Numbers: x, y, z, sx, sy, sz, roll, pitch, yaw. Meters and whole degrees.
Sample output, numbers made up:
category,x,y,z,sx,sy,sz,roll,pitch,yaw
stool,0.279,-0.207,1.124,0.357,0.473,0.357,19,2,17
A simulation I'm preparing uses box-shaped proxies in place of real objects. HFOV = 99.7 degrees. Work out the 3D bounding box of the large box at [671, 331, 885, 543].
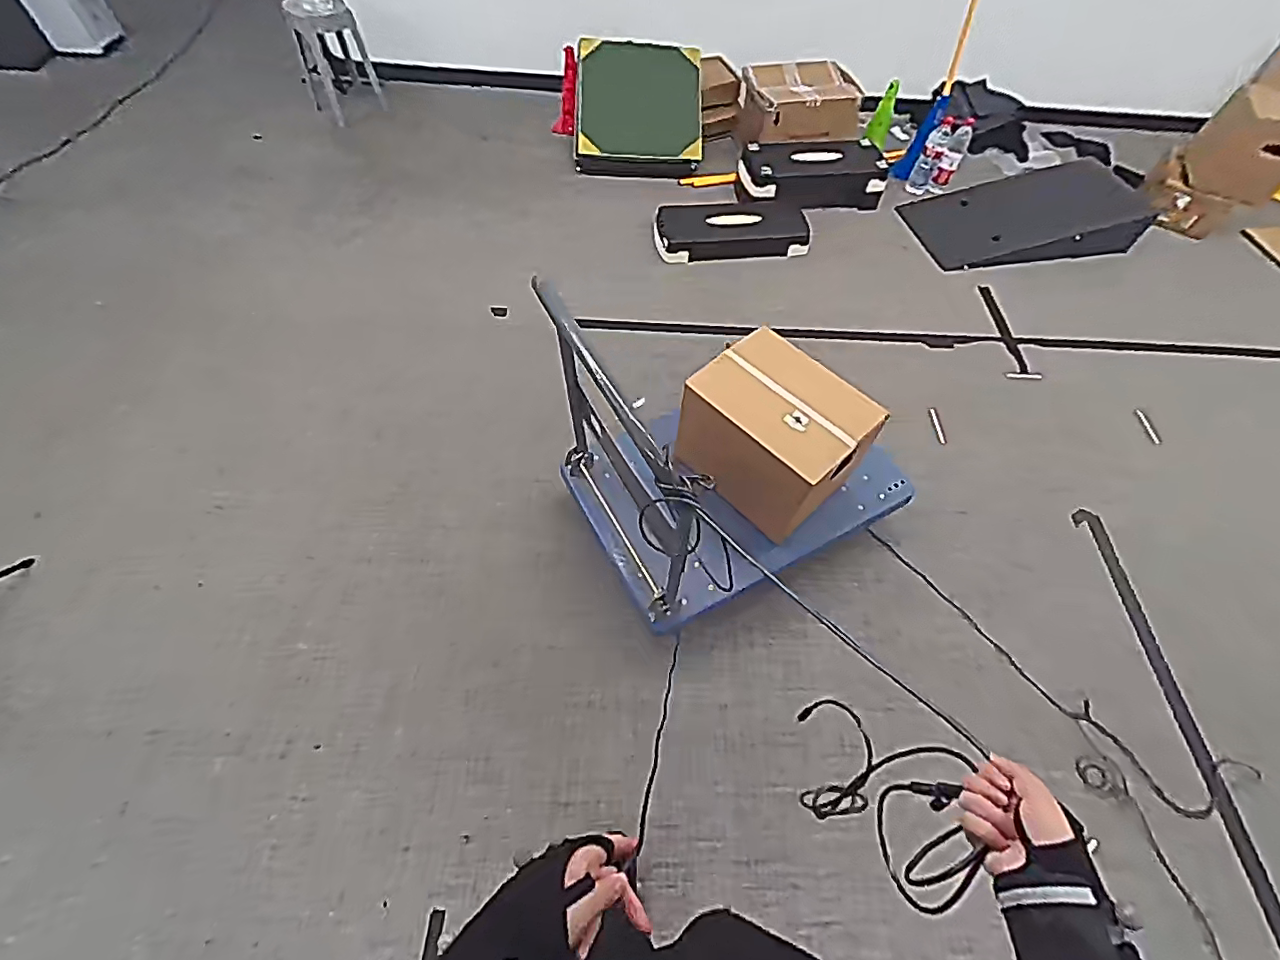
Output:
category,x,y,z,sx,sy,sz,roll,pitch,yaw
large box,0.338,-0.114,1.438,0.320,0.320,0.408,-38,68,-23
